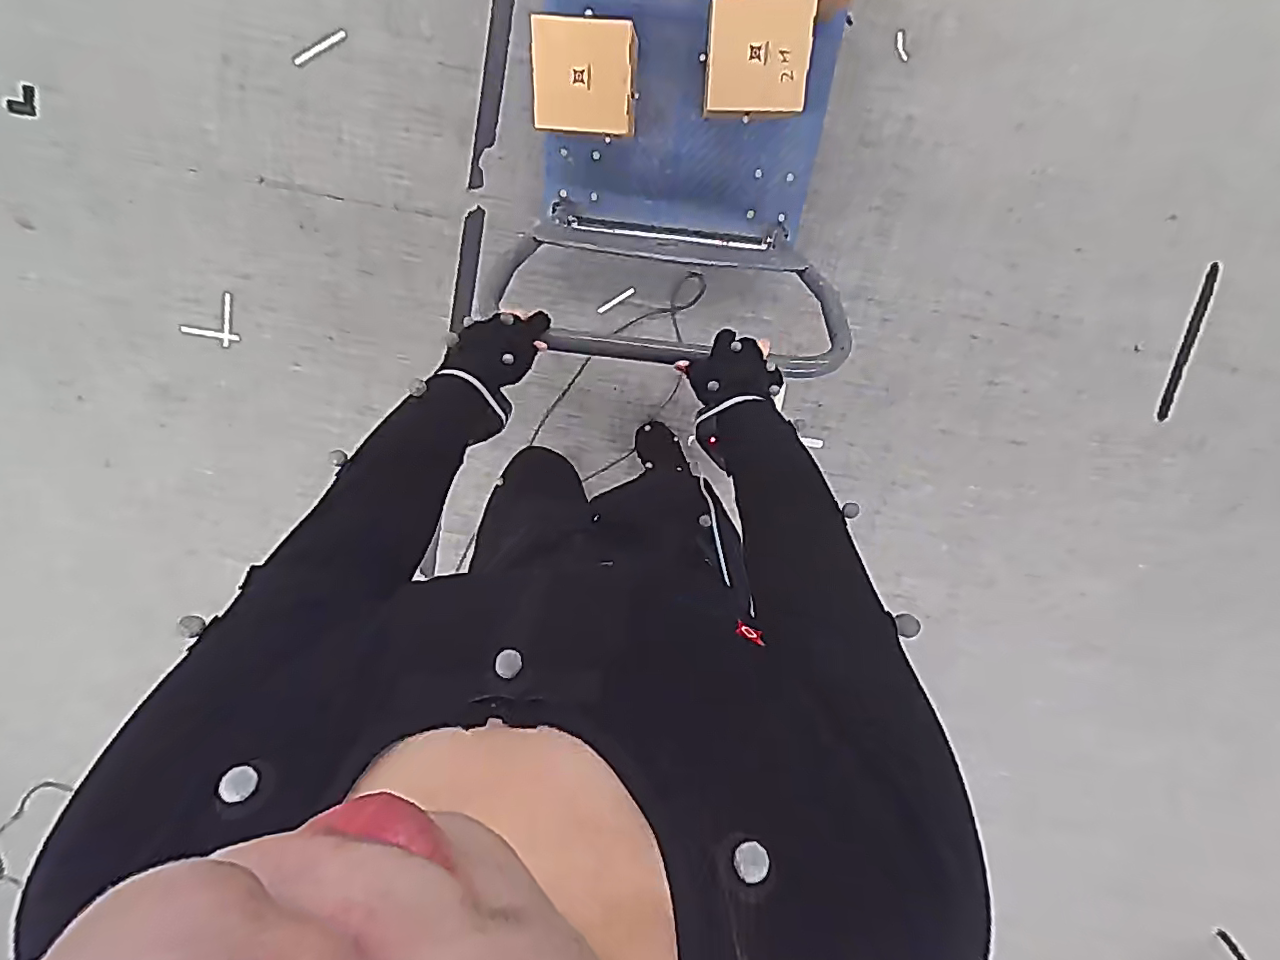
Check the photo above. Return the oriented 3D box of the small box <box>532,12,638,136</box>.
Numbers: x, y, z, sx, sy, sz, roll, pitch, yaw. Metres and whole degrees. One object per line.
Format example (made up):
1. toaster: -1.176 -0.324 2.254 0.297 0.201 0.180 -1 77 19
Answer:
1. small box: -0.099 -0.761 1.030 0.179 0.176 0.168 4 120 0

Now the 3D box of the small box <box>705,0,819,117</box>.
1. small box: 0.213 -0.775 0.997 0.179 0.176 0.168 3 121 3

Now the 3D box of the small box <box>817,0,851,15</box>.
1. small box: 0.307 -0.926 0.902 0.168 0.176 0.179 17 121 -5
